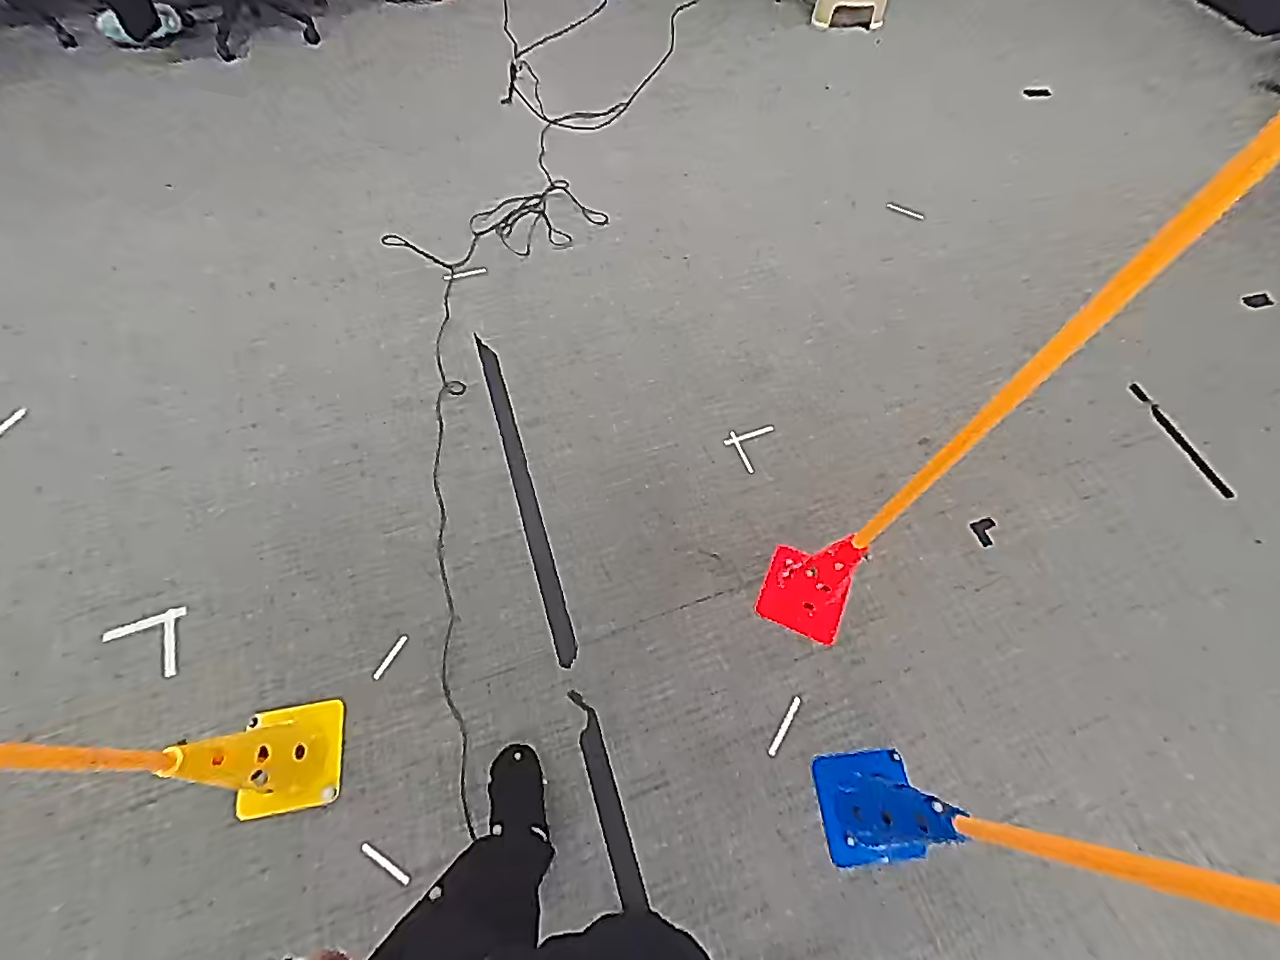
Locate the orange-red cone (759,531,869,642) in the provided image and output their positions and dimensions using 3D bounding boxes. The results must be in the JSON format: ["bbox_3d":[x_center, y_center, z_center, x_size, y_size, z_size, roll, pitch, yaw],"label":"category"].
[{"bbox_3d":[0.410,0.194,1.161,0.198,0.360,0.199,24,66,11],"label":"orange-red cone"}]

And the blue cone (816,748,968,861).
[{"bbox_3d":[0.477,0.589,0.973,0.193,0.380,0.192,-3,62,-3],"label":"blue cone"}]
